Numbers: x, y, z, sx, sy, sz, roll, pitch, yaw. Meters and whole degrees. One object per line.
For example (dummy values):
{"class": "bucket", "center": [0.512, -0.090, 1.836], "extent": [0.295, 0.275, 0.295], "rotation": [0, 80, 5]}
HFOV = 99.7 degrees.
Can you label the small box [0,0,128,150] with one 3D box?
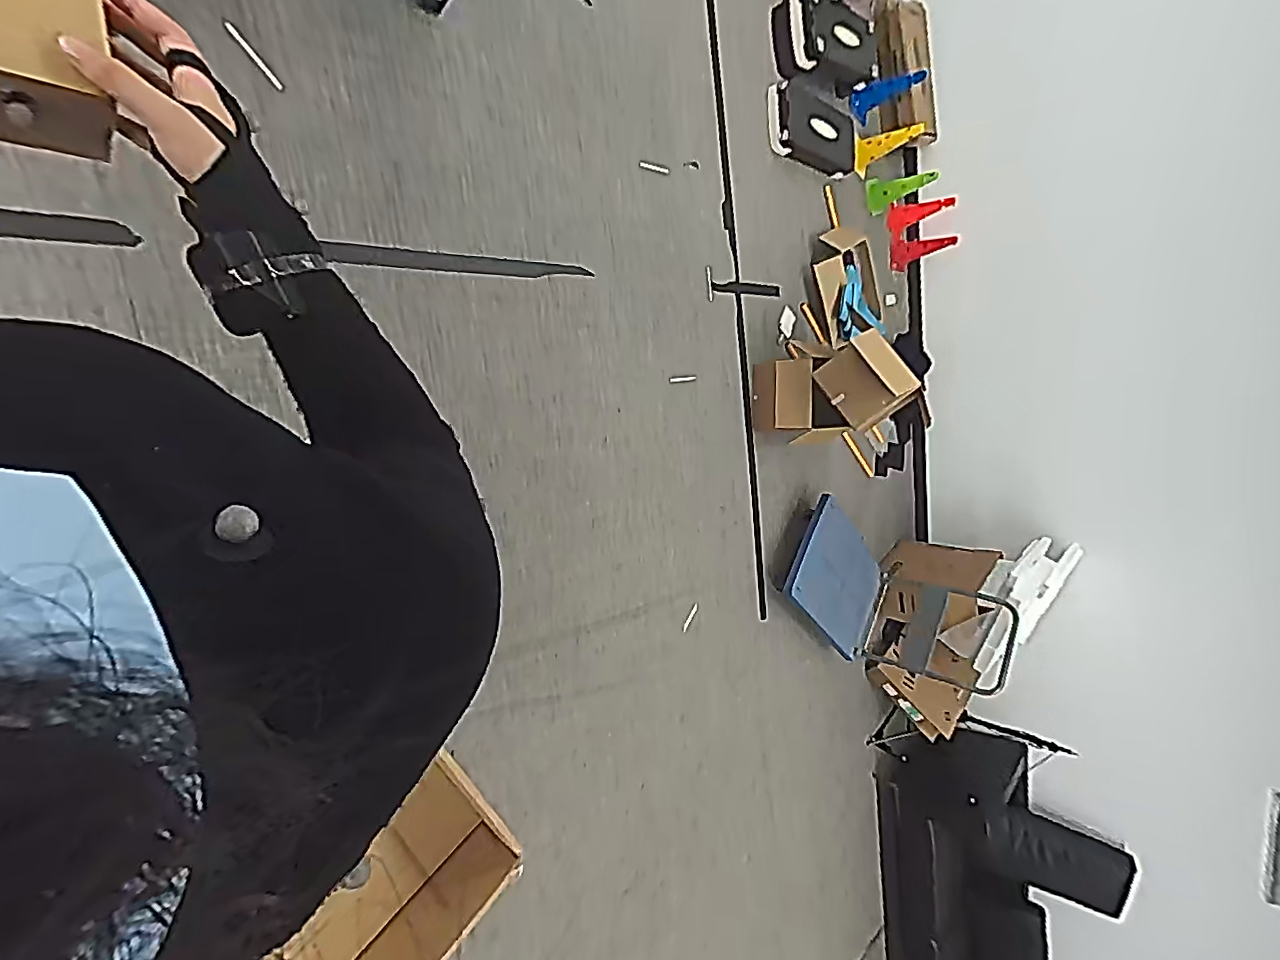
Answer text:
{"class": "small box", "center": [-0.452, -0.328, 0.333], "extent": [0.179, 0.176, 0.168], "rotation": [-10, 107, -44]}
